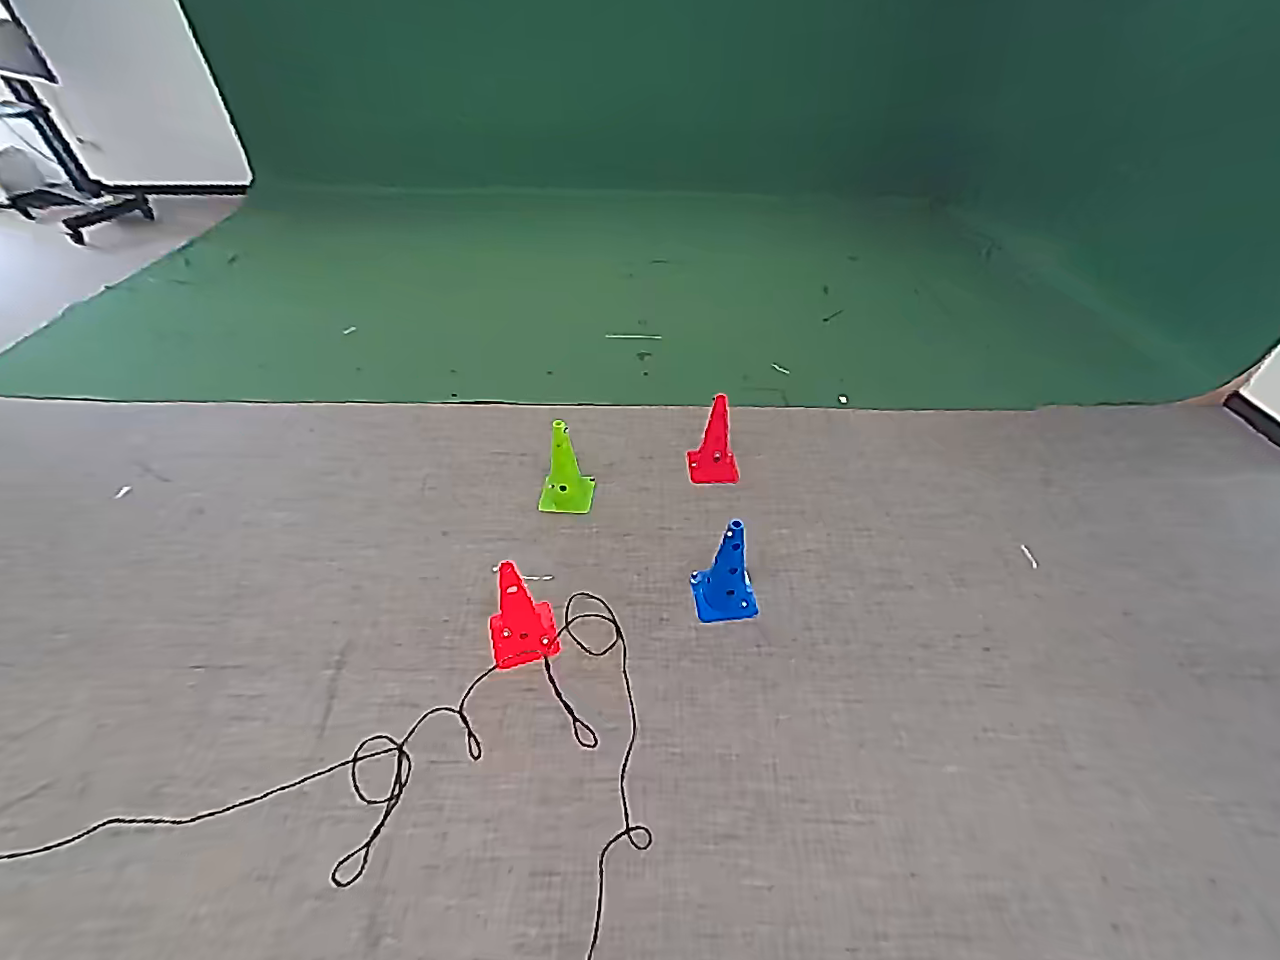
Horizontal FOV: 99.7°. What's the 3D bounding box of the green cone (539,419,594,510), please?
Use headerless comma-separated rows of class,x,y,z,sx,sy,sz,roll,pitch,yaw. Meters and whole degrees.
green cone,-0.289,-0.080,2.018,0.200,0.368,0.202,2,45,2

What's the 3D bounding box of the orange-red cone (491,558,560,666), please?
orange-red cone,-0.358,0.351,1.575,0.198,0.360,0.199,-12,44,-14
